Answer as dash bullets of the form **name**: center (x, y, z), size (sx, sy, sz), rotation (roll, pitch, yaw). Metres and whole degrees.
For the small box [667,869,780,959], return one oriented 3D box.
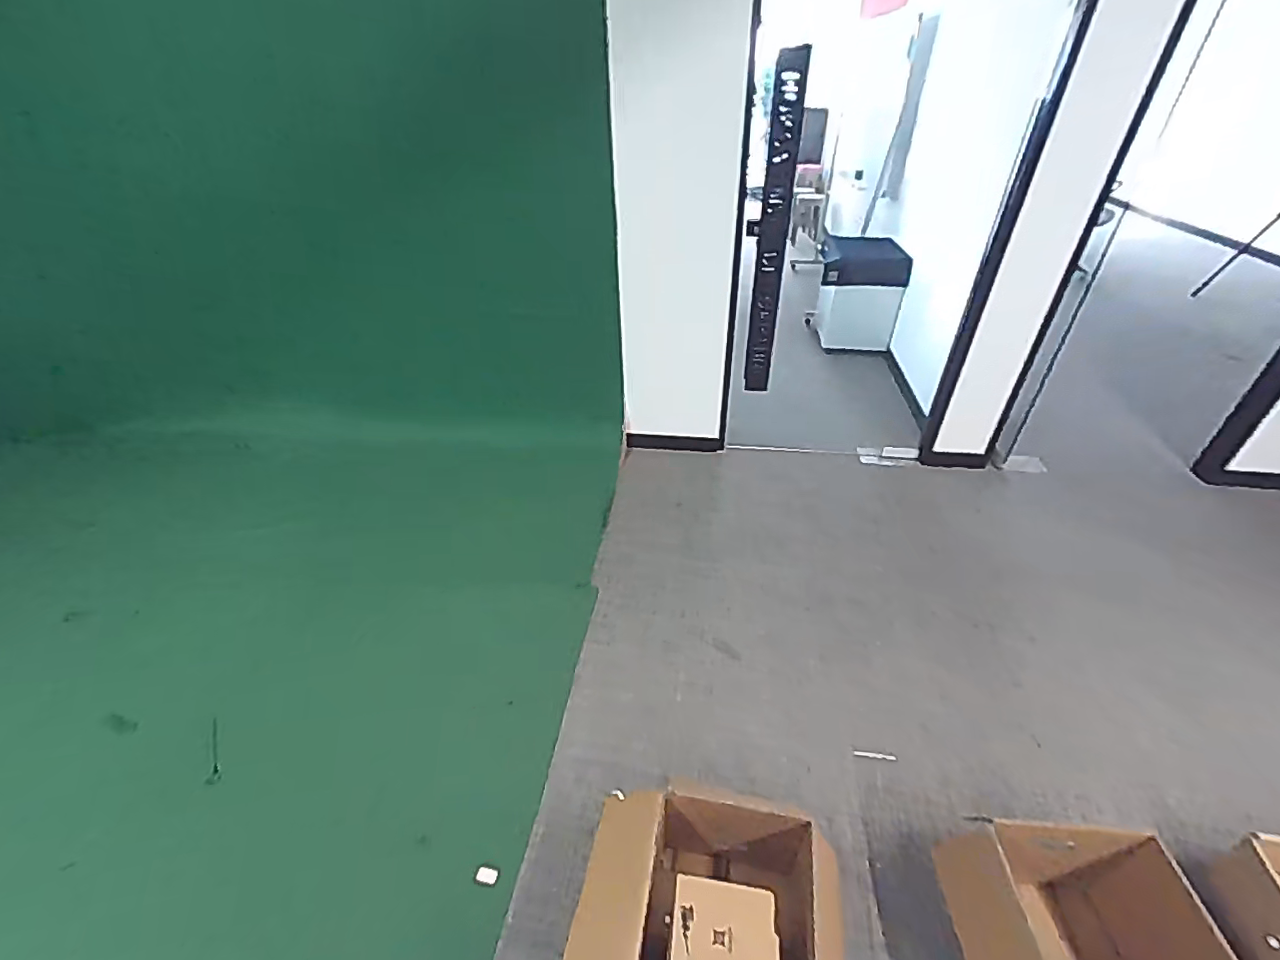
- **small box**: center (0.143, 0.826, 0.950), size (0.179, 0.176, 0.168), rotation (8, 36, 6)
